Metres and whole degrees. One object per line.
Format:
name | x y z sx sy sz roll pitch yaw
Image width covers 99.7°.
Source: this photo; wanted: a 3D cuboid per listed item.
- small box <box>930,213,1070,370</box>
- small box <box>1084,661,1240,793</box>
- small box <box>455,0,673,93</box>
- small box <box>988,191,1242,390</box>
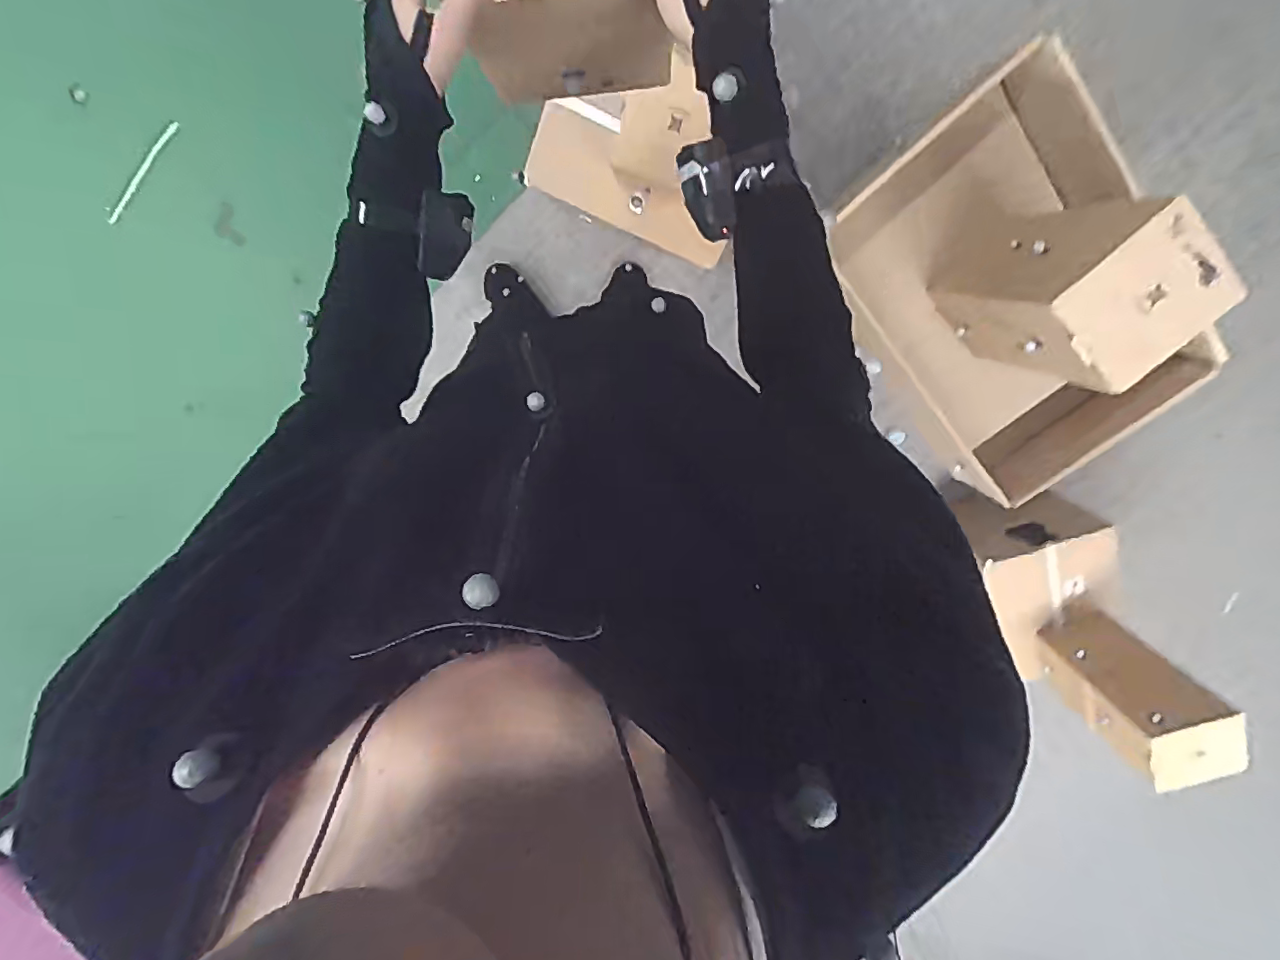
small box | 0.627 -0.313 0.891 0.179 0.176 0.168 -41 105 15
small box | 1.107 0.518 1.155 0.179 0.176 0.168 -22 110 9
small box | -0.062 -0.442 0.420 0.168 0.176 0.179 -4 106 3
small box | 0.621 -0.254 0.739 0.168 0.176 0.179 42 107 -15
